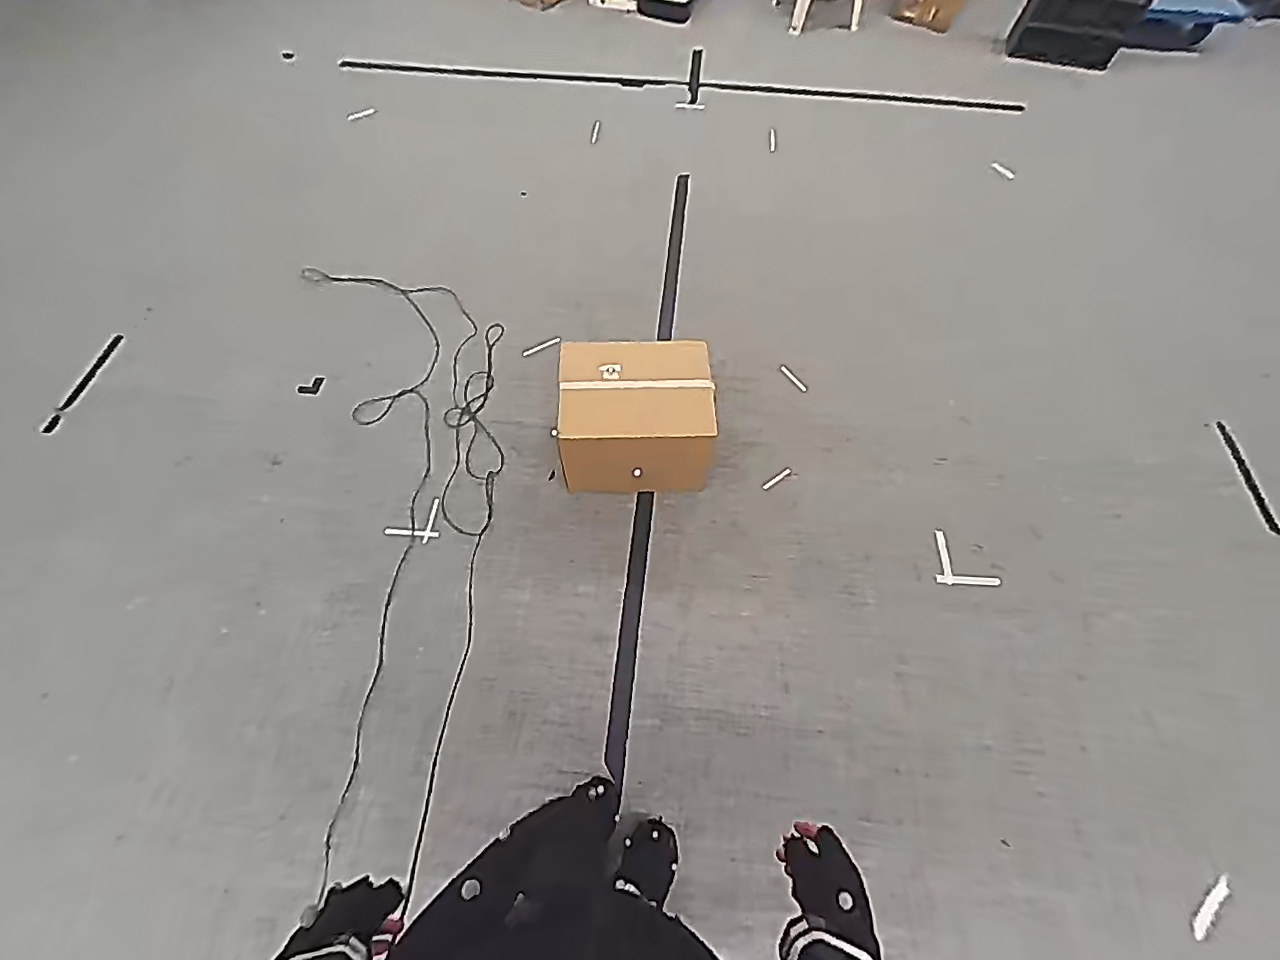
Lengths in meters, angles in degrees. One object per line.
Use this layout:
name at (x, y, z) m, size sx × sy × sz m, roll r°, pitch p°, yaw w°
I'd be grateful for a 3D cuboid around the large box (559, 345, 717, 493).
large box at (-0.008, -0.165, 1.557) m, size 0.408 × 0.320 × 0.320 m, roll -1°, pitch 62°, yaw -1°
